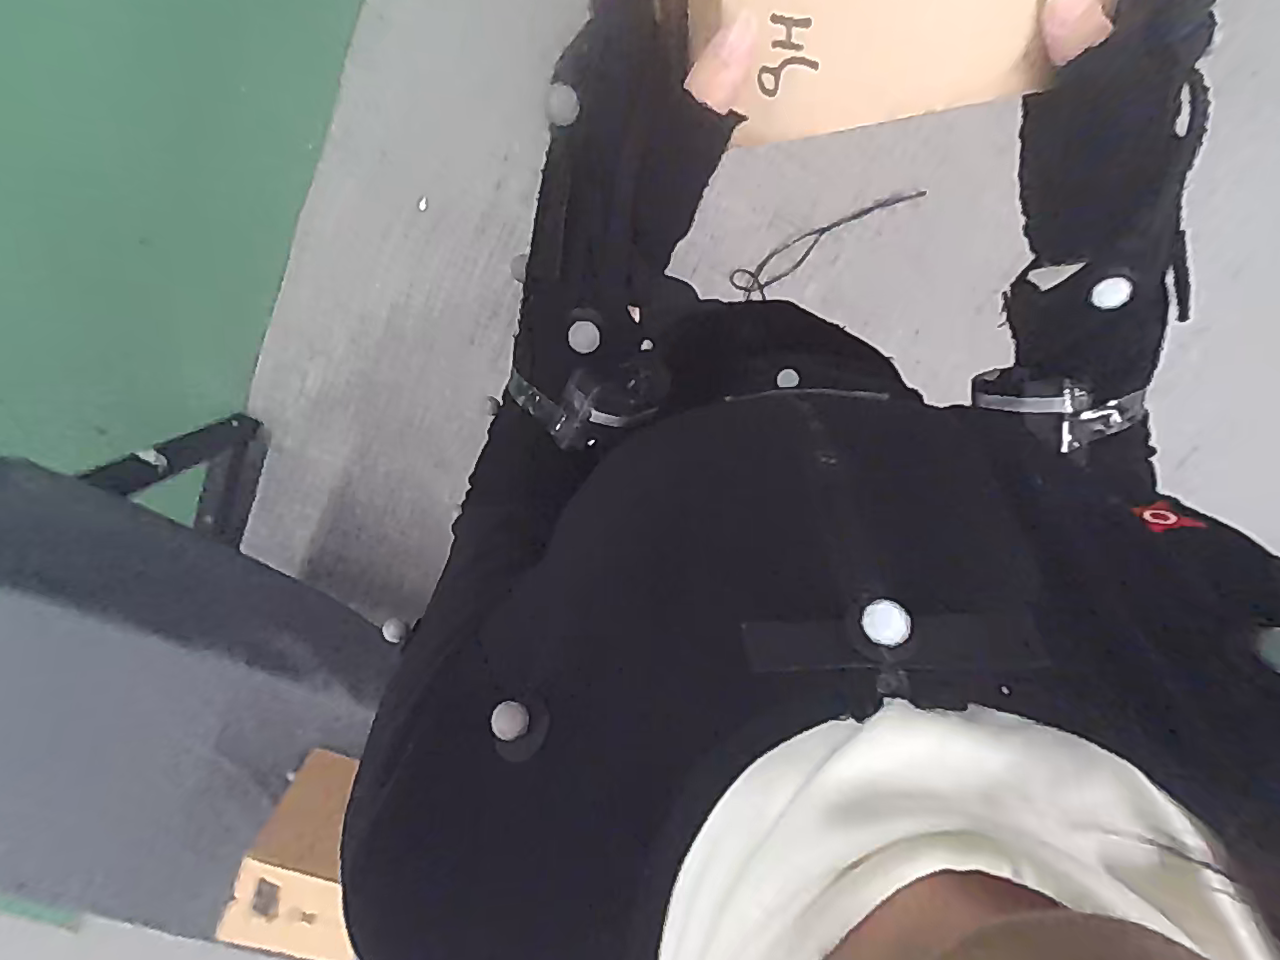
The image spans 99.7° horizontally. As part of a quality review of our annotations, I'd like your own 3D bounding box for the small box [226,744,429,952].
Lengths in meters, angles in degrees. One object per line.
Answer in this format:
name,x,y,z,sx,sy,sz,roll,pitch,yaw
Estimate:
small box,-0.435,0.517,0.778,0.179,0.176,0.168,25,109,-12
